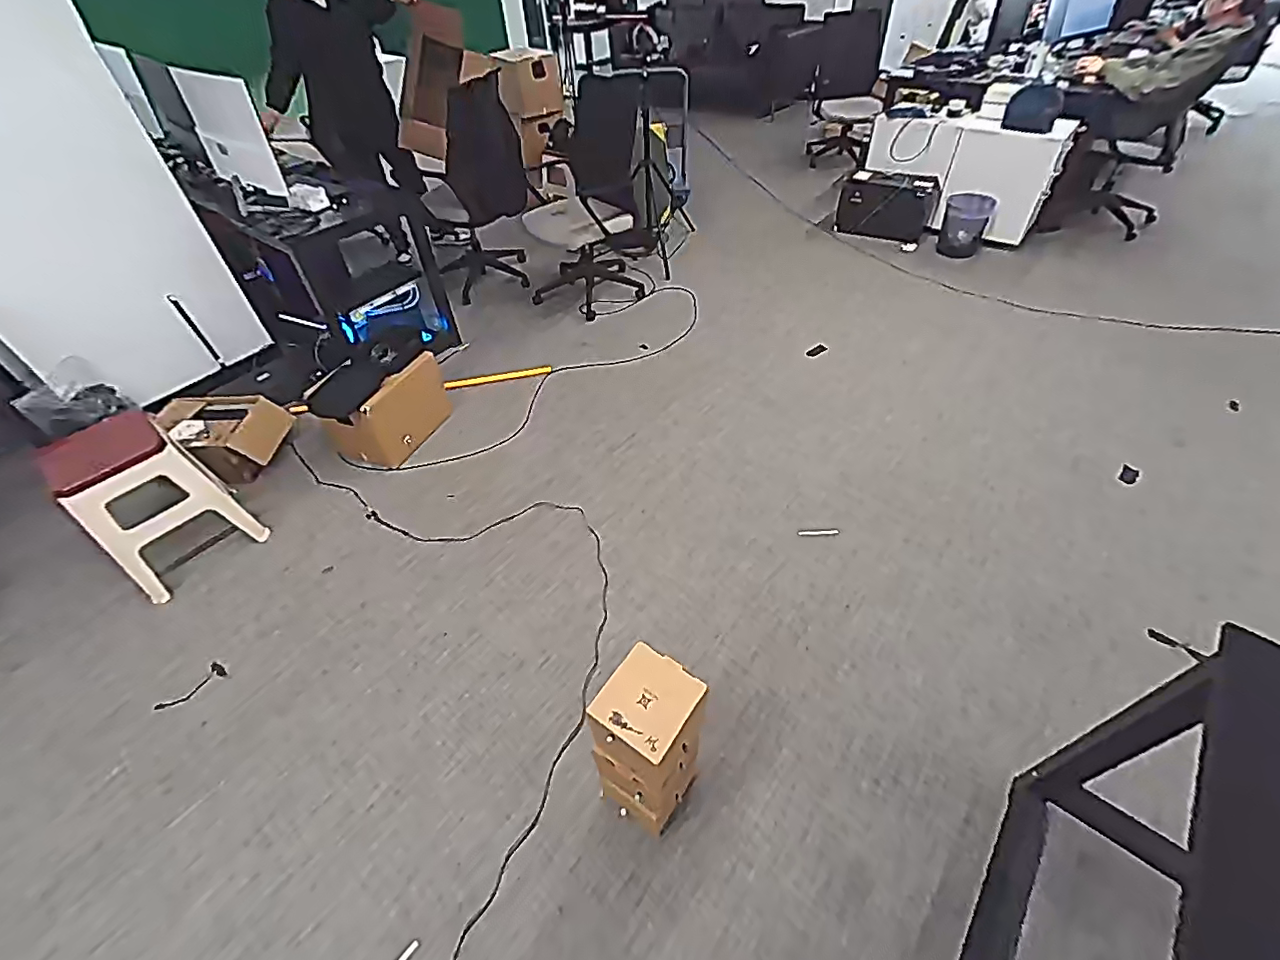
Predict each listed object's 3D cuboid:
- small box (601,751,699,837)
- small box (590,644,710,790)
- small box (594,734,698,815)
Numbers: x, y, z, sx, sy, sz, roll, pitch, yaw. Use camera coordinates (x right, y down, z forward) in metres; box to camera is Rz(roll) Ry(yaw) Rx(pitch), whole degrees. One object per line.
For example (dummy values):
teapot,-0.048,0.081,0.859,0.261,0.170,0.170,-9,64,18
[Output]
small box,0.026,0.710,1.298,0.168,0.176,0.179,26,53,26
small box,0.021,0.471,1.074,0.168,0.176,0.179,26,52,26
small box,0.021,0.592,1.186,0.168,0.176,0.179,24,50,23
